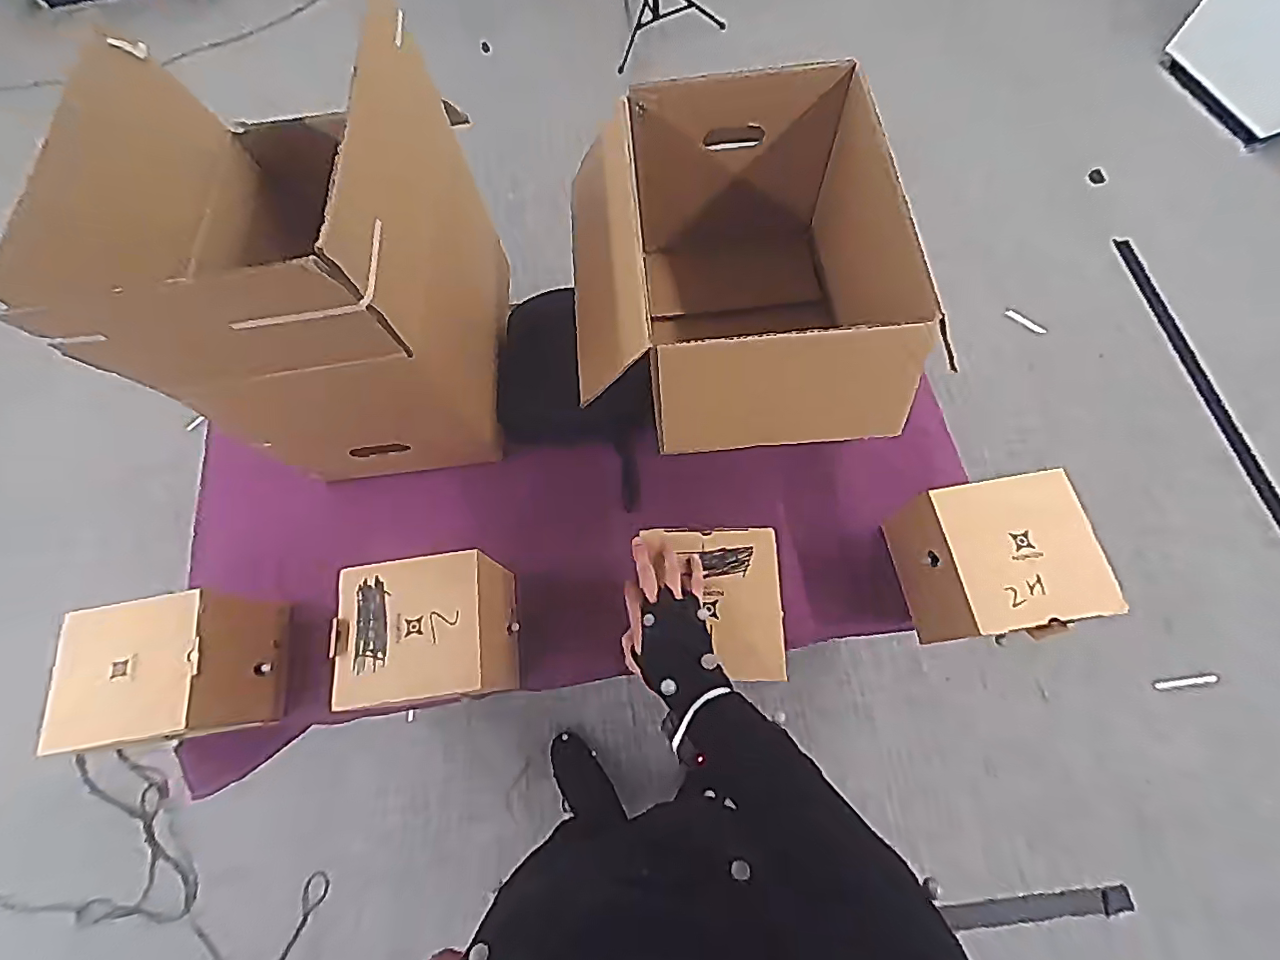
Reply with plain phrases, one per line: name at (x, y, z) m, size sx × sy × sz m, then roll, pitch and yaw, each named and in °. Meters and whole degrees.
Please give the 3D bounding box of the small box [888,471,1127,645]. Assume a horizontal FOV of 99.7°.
small box at (0.447, 0.108, 0.696) m, size 0.168 × 0.176 × 0.179 m, roll -10°, pitch 69°, yaw 2°

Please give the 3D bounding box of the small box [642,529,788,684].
small box at (0.089, 0.169, 0.702) m, size 0.168 × 0.176 × 0.179 m, roll -1°, pitch 72°, yaw 4°

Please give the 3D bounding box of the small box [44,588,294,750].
small box at (-0.607, 0.253, 0.723) m, size 0.179 × 0.176 × 0.168 m, roll -10°, pitch 69°, yaw -1°
